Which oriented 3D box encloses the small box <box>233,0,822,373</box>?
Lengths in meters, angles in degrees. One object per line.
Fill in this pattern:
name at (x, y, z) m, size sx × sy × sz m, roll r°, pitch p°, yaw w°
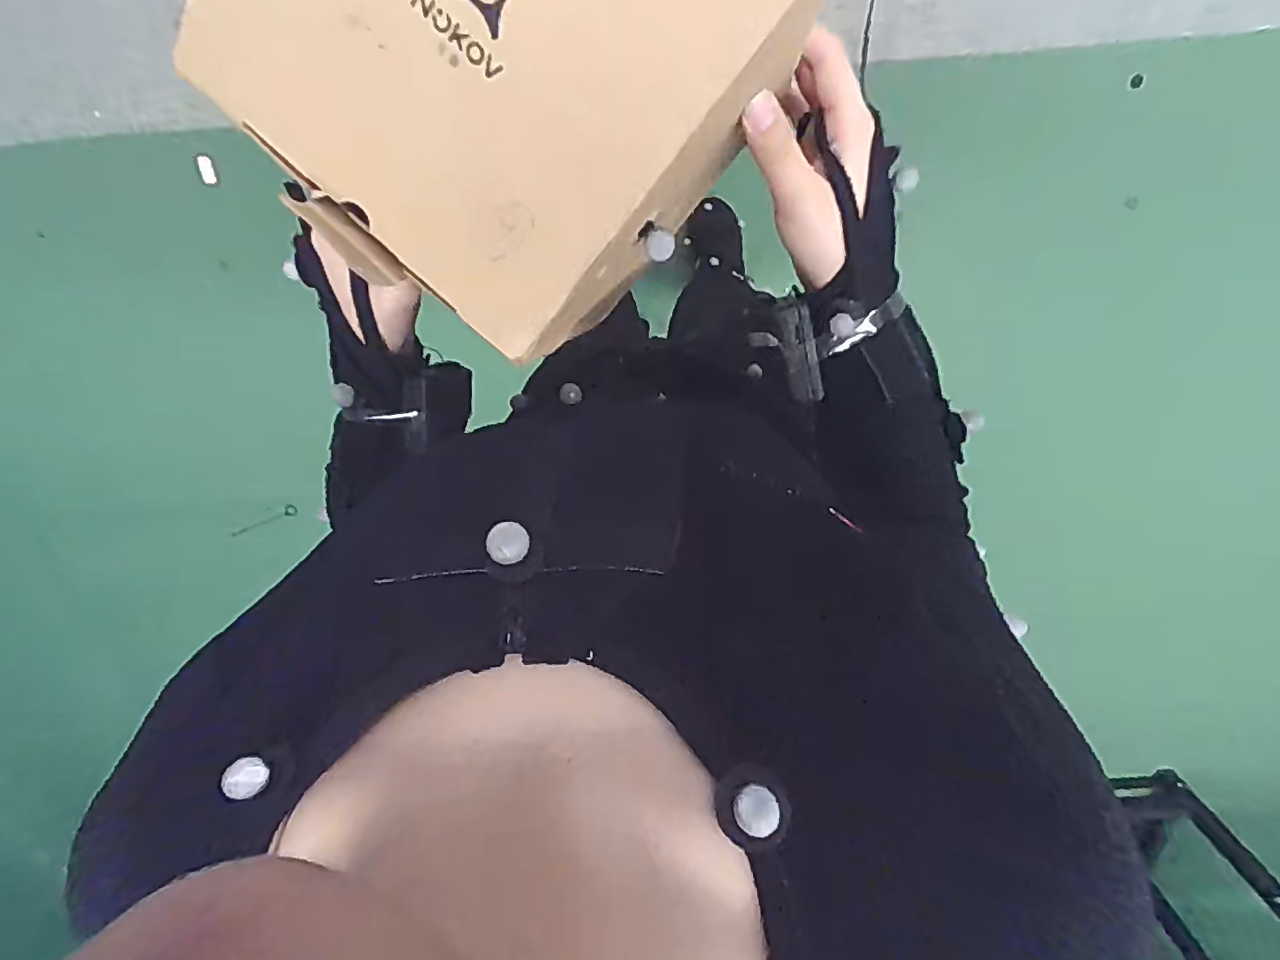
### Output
small box at (-0.039, -0.184, 0.272) m, size 0.168 × 0.176 × 0.179 m, roll 41°, pitch 112°, yaw -8°
